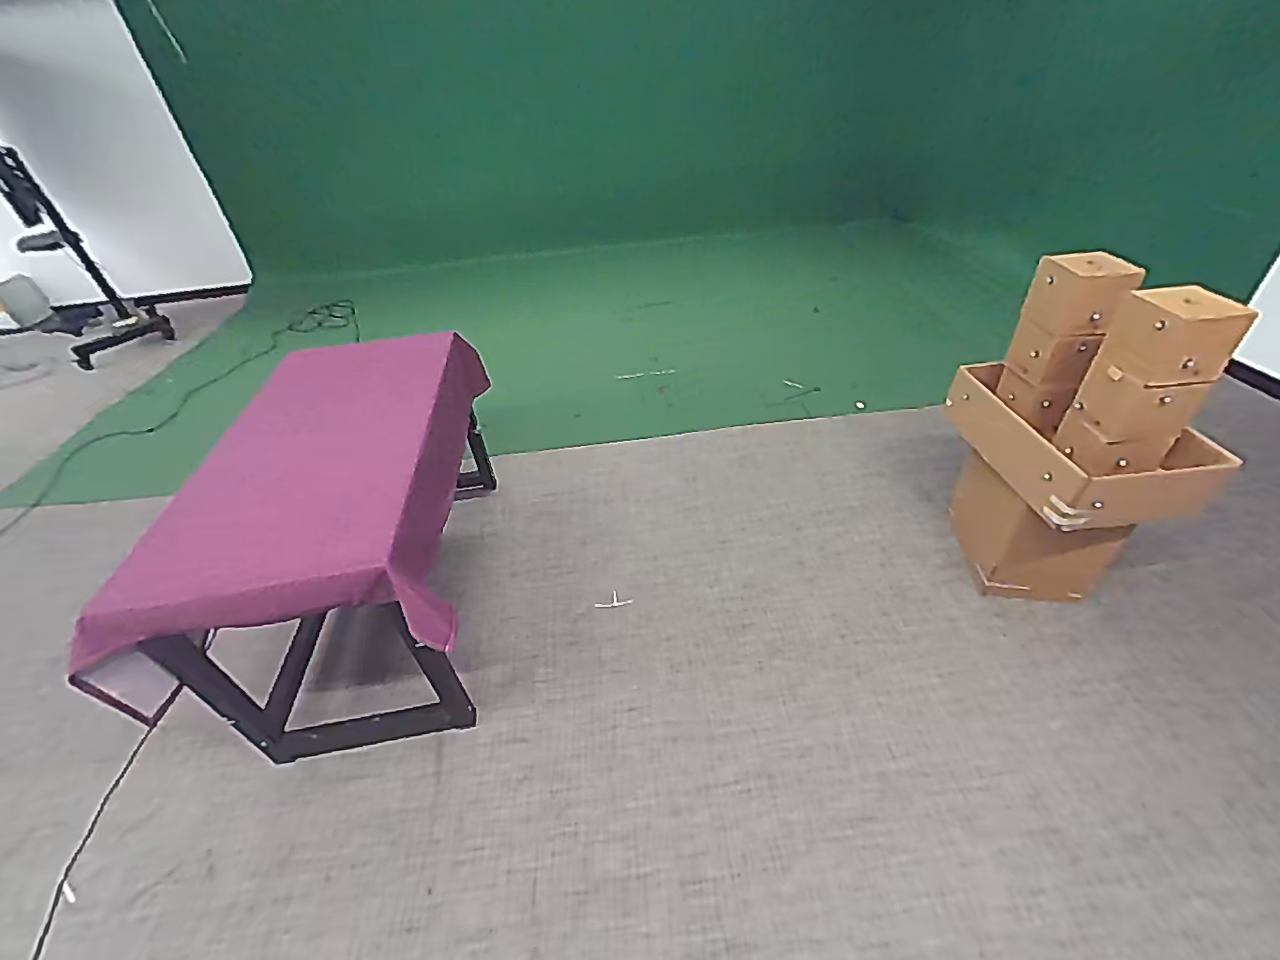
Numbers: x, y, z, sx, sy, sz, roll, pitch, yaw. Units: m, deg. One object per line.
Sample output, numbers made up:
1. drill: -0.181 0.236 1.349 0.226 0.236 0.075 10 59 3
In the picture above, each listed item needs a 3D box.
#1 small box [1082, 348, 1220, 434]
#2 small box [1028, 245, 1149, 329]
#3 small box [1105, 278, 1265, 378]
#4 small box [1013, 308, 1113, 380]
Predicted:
1. small box: 1.278 -0.230 1.374 0.179 0.176 0.168 -4 39 2
2. small box: 1.223 -0.533 1.495 0.168 0.176 0.179 -5 40 4
3. small box: 1.264 -0.359 1.276 0.168 0.176 0.179 -5 39 2
4. small box: 1.246 -0.407 1.598 0.179 0.176 0.168 -6 40 1
